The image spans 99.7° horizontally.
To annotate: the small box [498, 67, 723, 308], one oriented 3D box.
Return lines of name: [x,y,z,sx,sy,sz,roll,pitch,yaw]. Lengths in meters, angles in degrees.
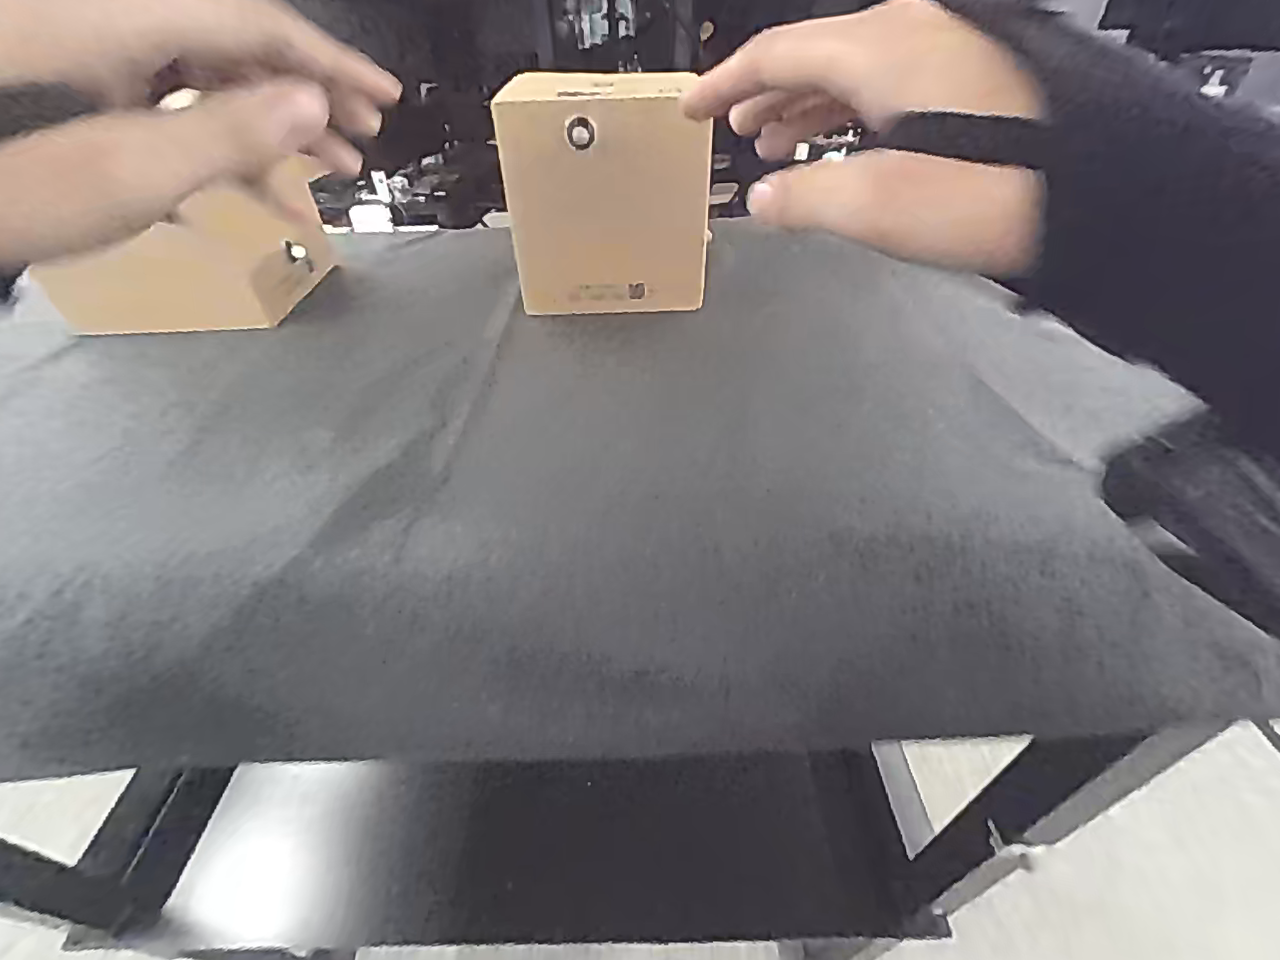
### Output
small box: [-0.022,-0.272,0.500,0.168,0.176,0.179,-2,40,0]
